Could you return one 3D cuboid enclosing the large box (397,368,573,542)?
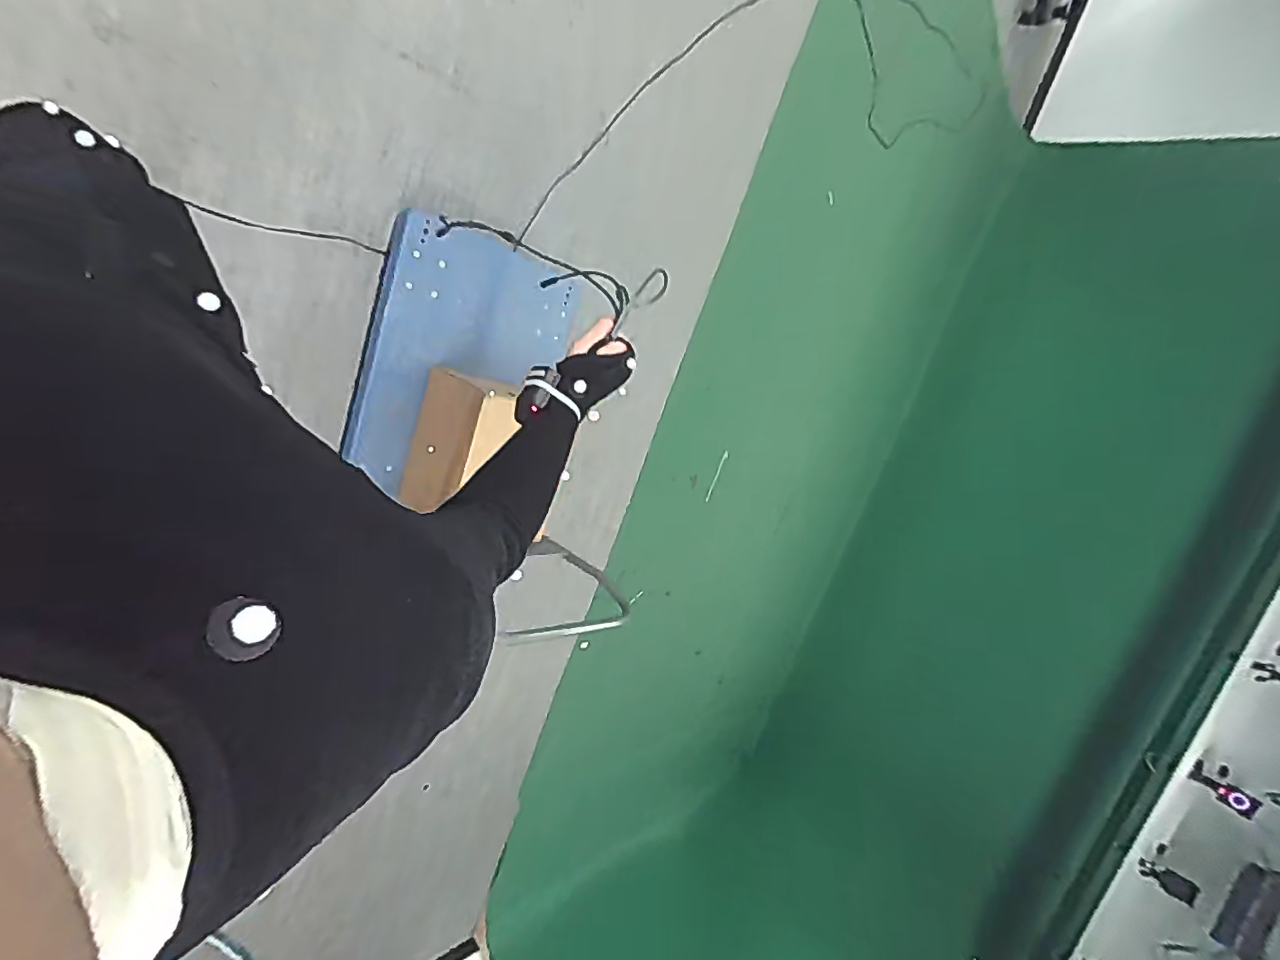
[{"bbox_3d":[-0.451,-0.065,1.549,0.320,0.320,0.408,7,105,-49],"label":"large box"}]
